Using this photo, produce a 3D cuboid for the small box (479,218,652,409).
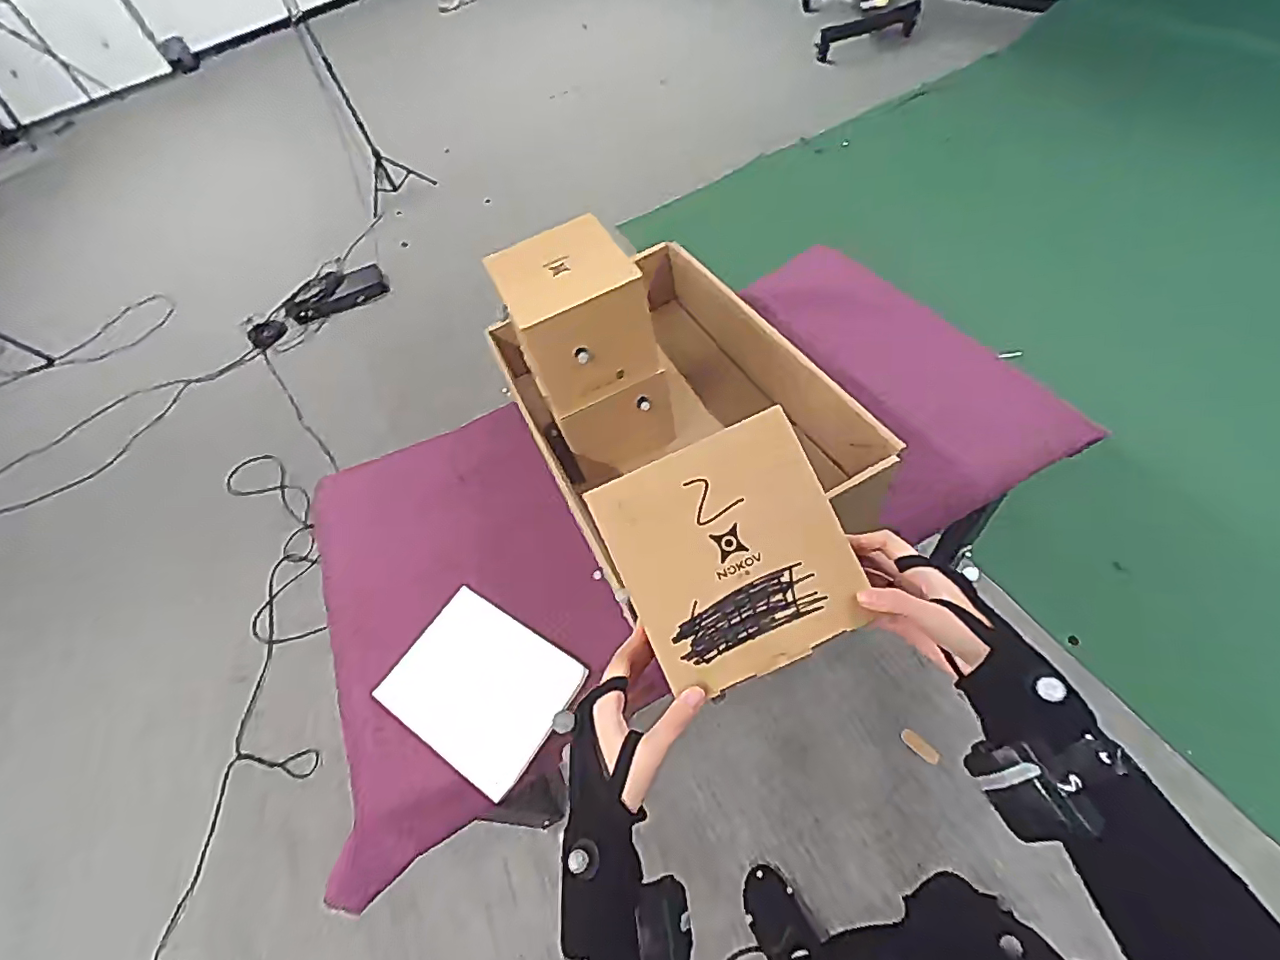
[{"bbox_3d":[-0.097,-0.224,0.762,0.168,0.176,0.179,-27,55,-7],"label":"small box"}]
